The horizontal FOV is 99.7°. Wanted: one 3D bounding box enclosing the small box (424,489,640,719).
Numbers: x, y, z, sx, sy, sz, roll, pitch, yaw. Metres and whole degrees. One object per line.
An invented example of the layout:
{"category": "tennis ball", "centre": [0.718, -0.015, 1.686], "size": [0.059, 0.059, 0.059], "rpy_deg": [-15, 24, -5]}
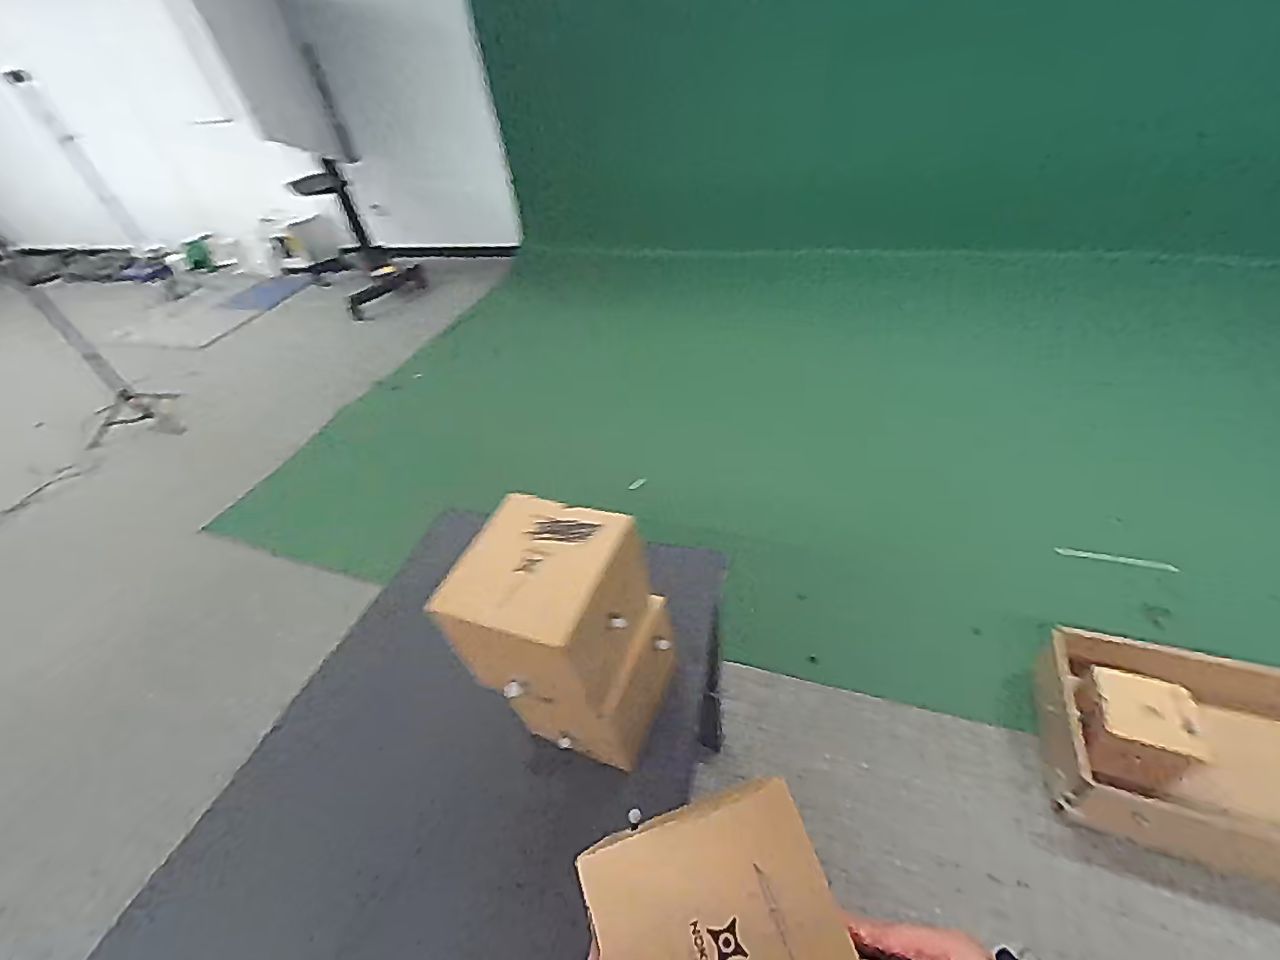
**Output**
{"category": "small box", "centre": [-0.106, 0.140, 0.628], "size": [0.168, 0.176, 0.179], "rpy_deg": [10, 47, 21]}

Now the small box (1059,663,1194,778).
{"category": "small box", "centre": [1.101, 0.556, 1.247], "size": [0.179, 0.176, 0.168], "rpy_deg": [10, 46, 19]}

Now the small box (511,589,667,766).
{"category": "small box", "centre": [-0.069, 0.253, 0.743], "size": [0.168, 0.176, 0.179], "rpy_deg": [10, 46, 22]}
